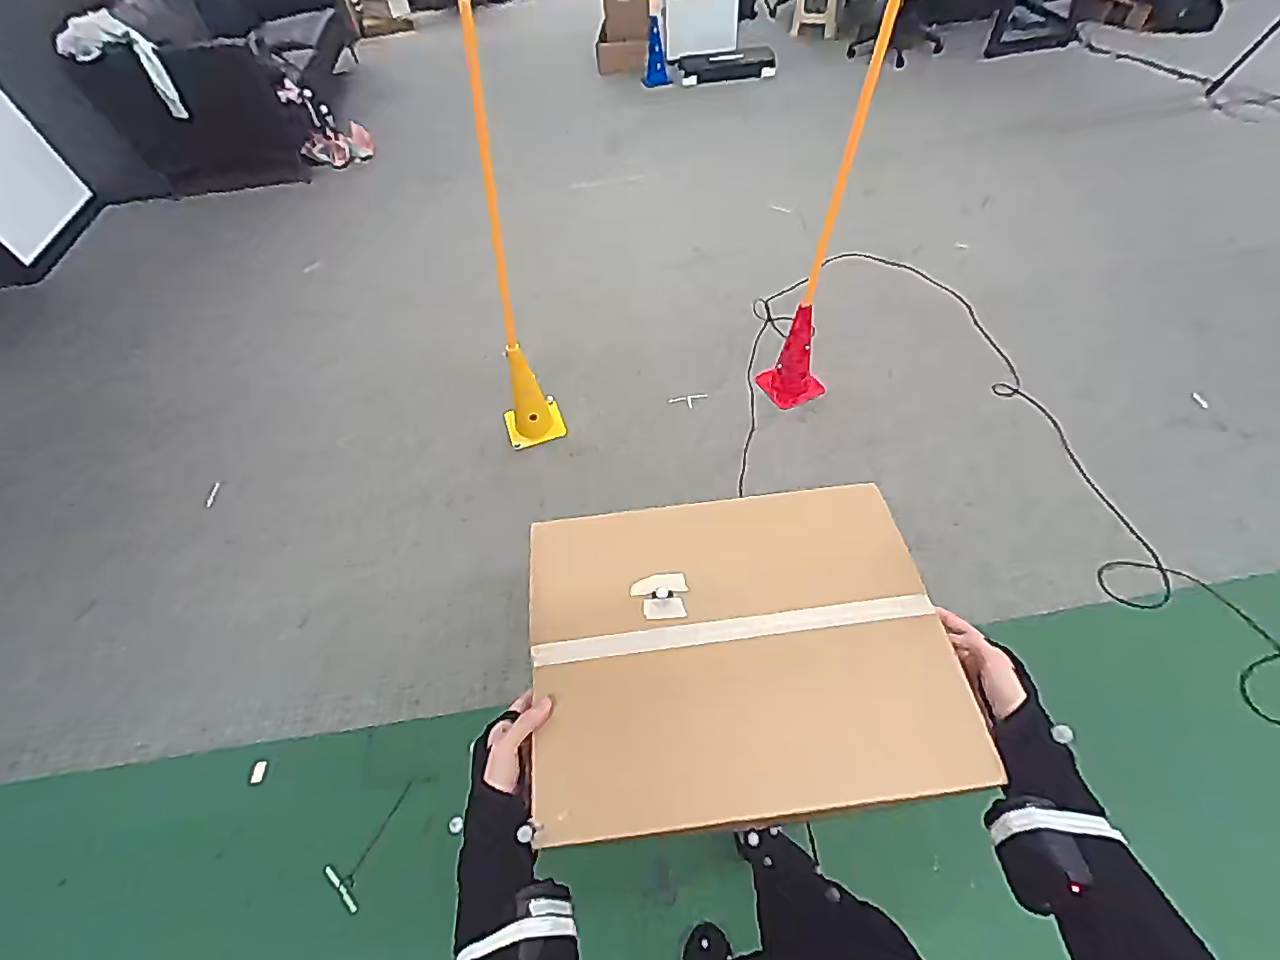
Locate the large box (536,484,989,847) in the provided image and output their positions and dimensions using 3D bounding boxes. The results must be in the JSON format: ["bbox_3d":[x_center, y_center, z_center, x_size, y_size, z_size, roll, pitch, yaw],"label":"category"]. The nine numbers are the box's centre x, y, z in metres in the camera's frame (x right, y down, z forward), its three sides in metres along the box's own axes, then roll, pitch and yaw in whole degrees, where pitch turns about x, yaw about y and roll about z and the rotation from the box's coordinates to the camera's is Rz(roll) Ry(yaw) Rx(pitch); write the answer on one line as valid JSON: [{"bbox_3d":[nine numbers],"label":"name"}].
[{"bbox_3d":[0.106,0.242,0.676,0.408,0.320,0.320,-9,53,-1],"label":"large box"}]
